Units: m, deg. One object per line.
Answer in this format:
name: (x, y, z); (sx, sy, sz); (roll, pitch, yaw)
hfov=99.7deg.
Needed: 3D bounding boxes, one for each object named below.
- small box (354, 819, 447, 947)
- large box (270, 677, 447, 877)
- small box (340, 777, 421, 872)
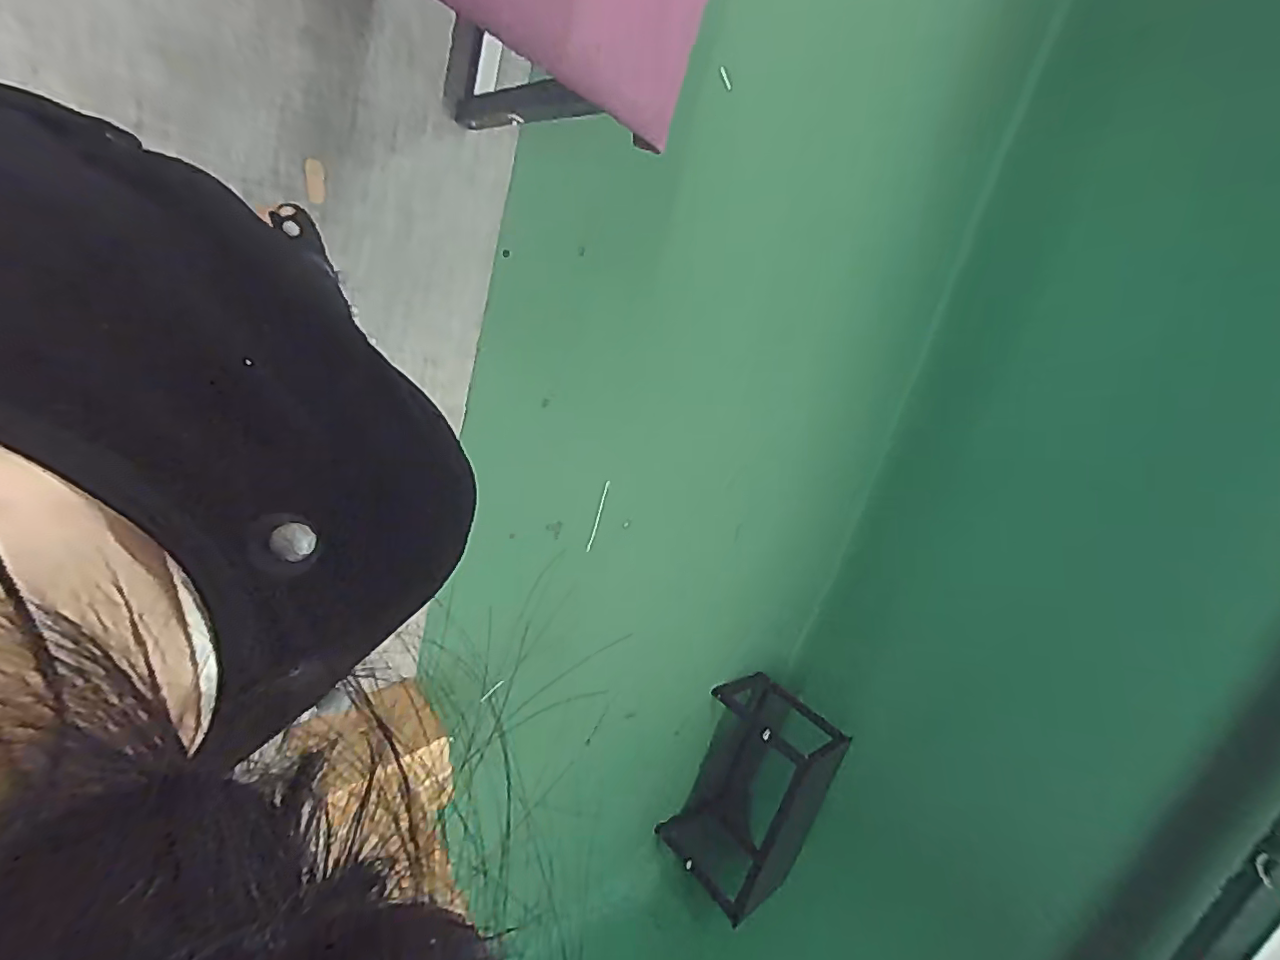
small box: (-0.632, 1.047, 1.423); (0.179, 0.176, 0.168); (-8, 117, -42)
large box: (-0.882, 0.914, 1.718); (0.408, 0.320, 0.320); (-17, 124, -40)
small box: (-0.735, 0.981, 1.529); (0.168, 0.176, 0.179); (-9, 118, -42)
